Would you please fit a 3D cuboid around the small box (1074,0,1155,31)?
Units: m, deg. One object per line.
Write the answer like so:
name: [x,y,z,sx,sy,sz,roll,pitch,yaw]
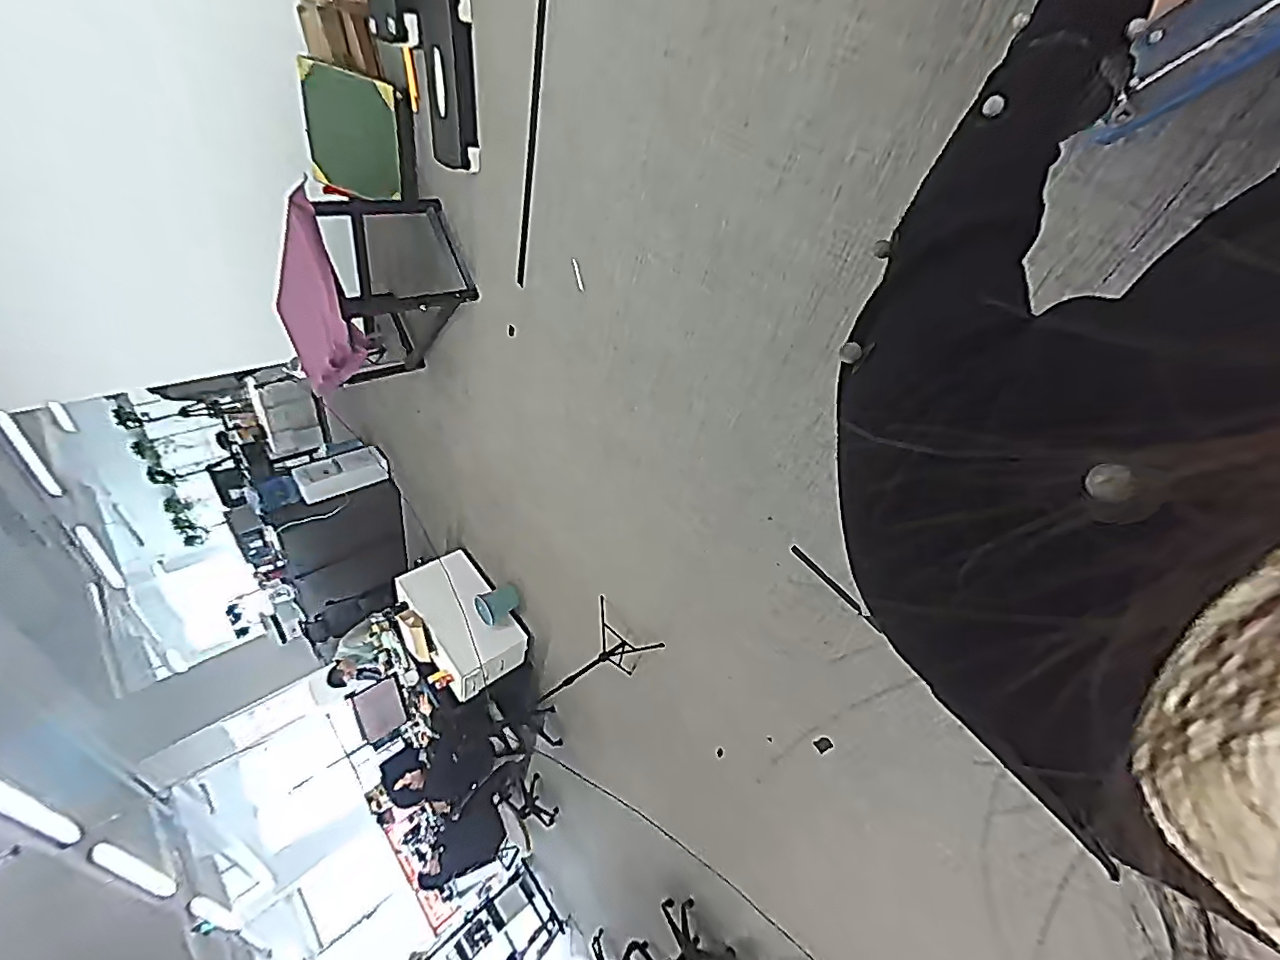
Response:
small box: [0.704,-0.781,0.760,0.168,0.176,0.179,-26,89,51]
